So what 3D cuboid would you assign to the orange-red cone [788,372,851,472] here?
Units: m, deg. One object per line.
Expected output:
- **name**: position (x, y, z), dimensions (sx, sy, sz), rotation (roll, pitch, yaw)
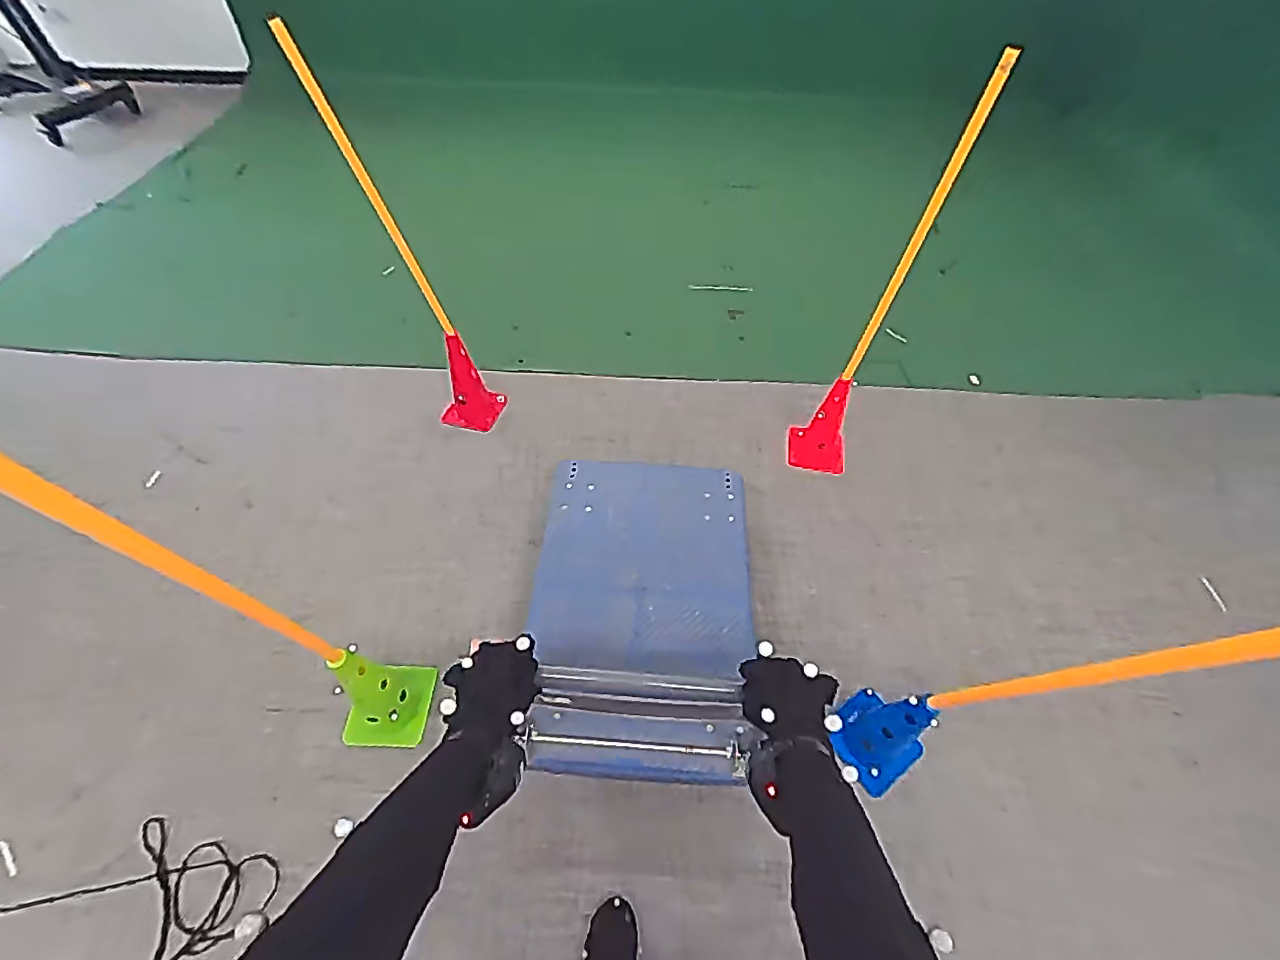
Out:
- **orange-red cone**: position (0.649, -0.220, 1.848), dimensions (0.198, 0.360, 0.199), rotation (11, 54, 8)
